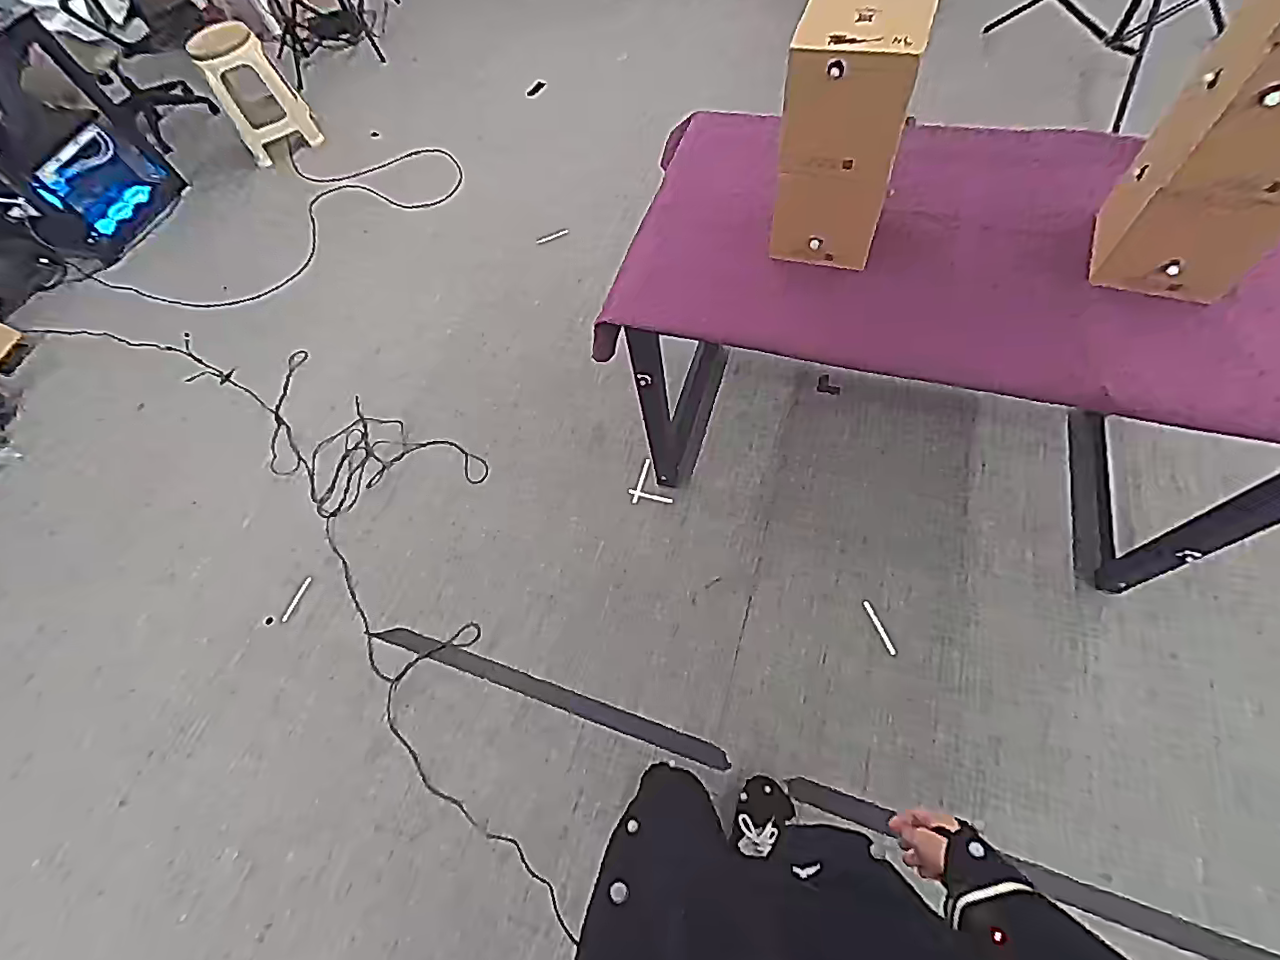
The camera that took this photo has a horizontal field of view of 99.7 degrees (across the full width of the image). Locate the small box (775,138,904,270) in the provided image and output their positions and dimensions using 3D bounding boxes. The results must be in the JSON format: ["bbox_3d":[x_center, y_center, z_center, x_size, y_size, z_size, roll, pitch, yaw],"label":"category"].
[{"bbox_3d":[0.331,-0.492,0.915,0.168,0.176,0.179,15,67,16],"label":"small box"}]

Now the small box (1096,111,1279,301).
[{"bbox_3d":[0.815,-0.398,0.794,0.168,0.176,0.179,19,67,18],"label":"small box"}]

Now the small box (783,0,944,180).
[{"bbox_3d":[0.309,-0.567,0.771,0.168,0.176,0.179,16,66,16],"label":"small box"}]
